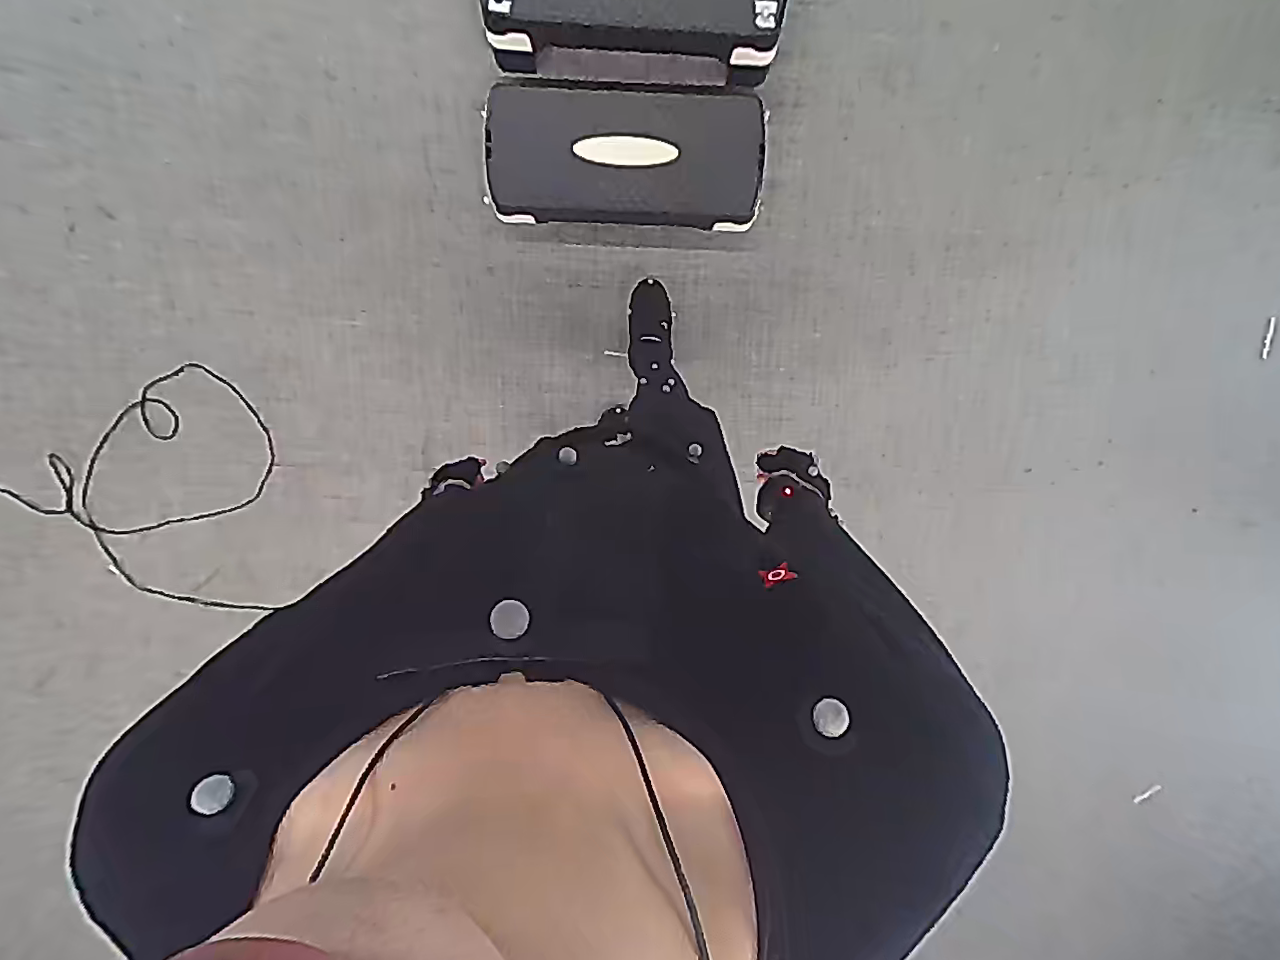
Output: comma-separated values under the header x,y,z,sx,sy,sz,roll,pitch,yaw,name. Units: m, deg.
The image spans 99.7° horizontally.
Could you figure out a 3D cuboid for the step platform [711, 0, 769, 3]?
x,y,z,sx,sy,sz,roll,pitch,yaw,name
-0.034,-1.100,0.991,0.684,0.204,0.286,2,101,-1,step platform
